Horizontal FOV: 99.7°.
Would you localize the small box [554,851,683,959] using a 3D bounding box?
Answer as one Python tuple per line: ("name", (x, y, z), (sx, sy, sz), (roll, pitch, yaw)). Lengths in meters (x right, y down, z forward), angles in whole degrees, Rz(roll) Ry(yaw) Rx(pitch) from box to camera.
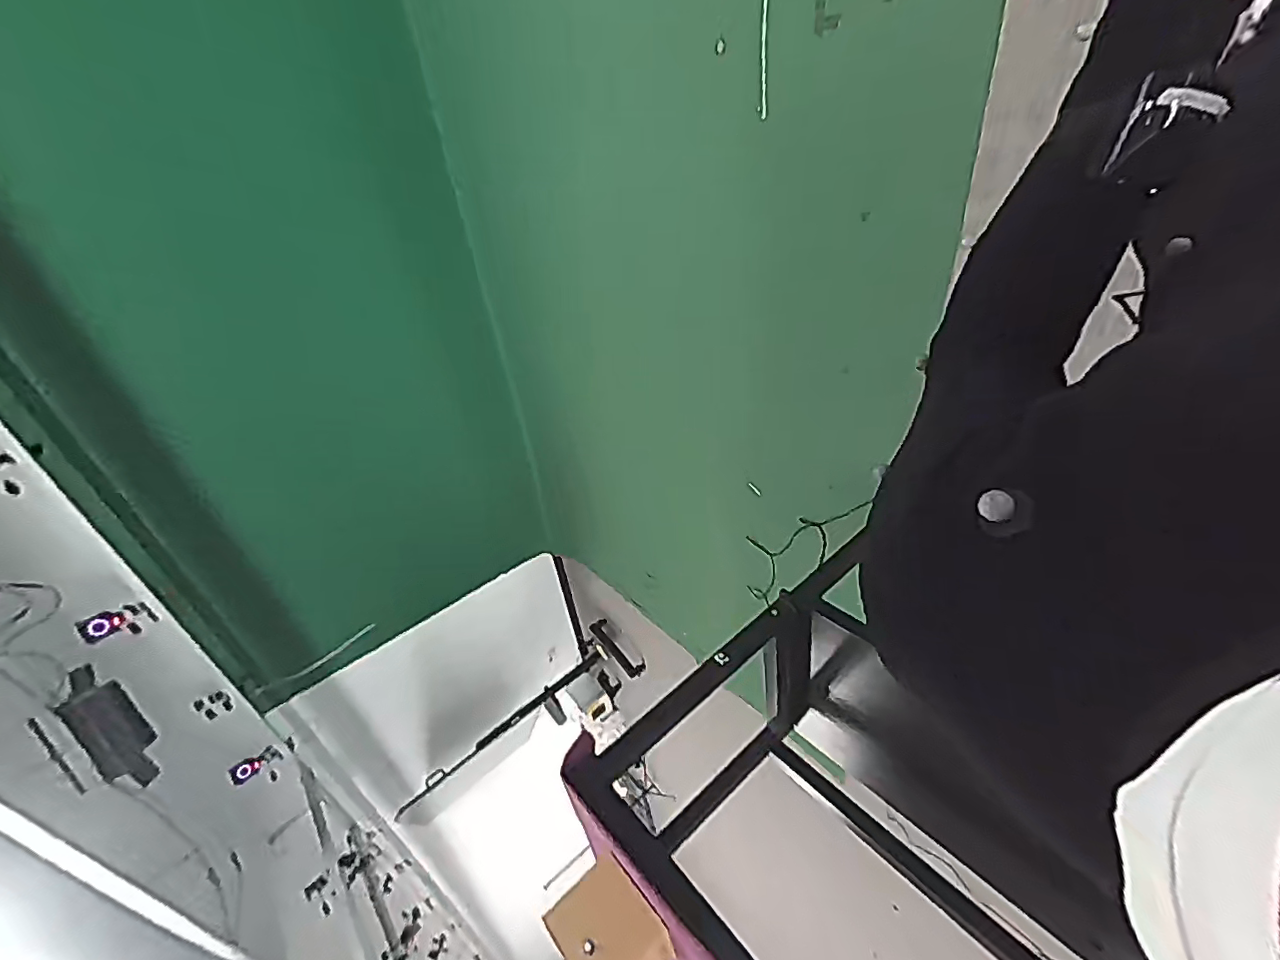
("small box", (-0.032, 0.867, 1.029), (0.179, 0.176, 0.168), (28, 140, 43))
